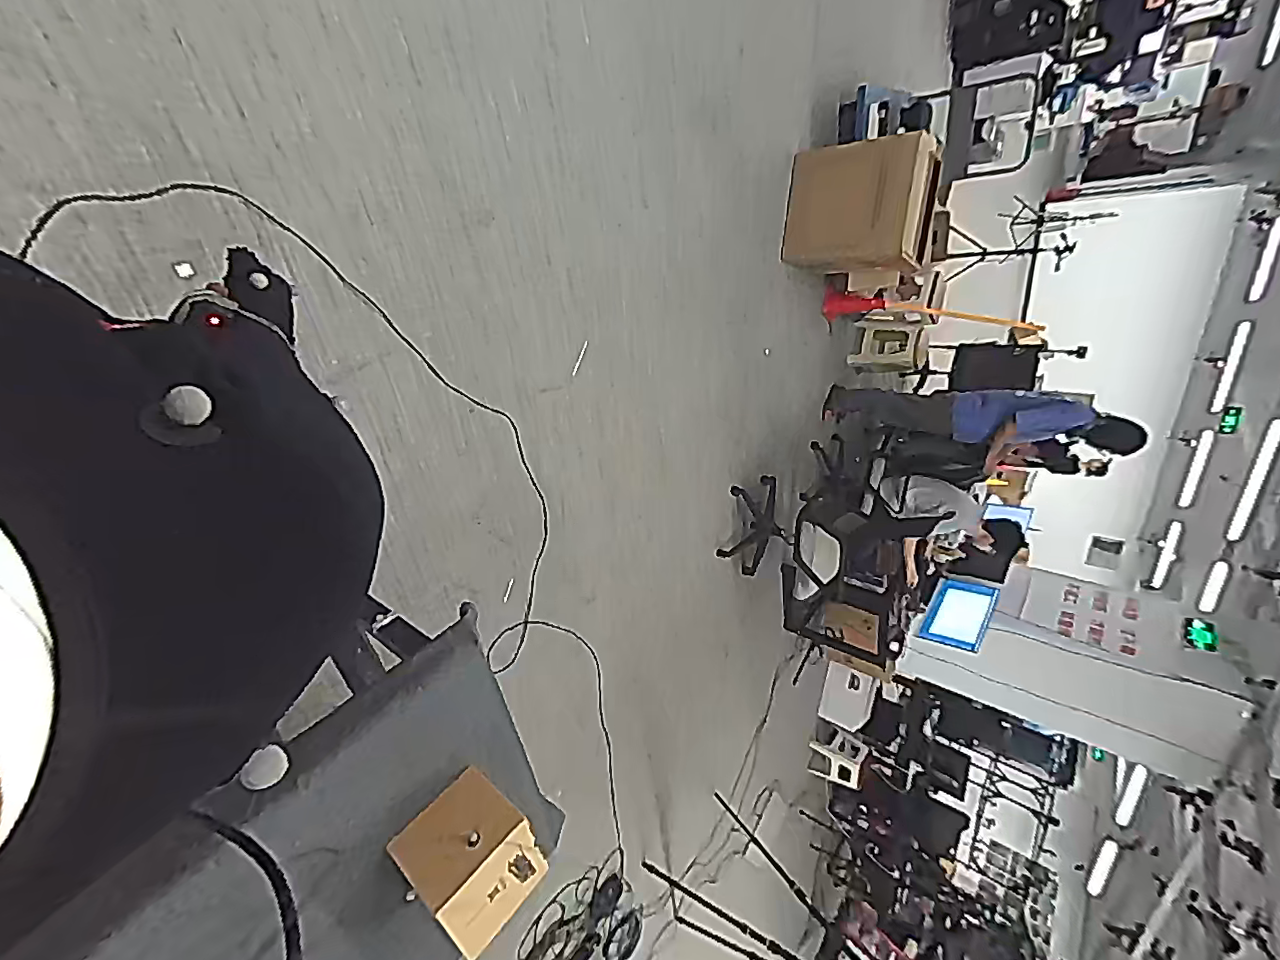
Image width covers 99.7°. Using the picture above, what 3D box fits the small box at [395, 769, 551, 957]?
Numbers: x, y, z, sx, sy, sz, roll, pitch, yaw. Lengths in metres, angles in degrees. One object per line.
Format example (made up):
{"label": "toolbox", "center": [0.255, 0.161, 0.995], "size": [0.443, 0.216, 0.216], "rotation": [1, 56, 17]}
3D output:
{"label": "small box", "center": [-0.289, 0.654, 0.946], "size": [0.179, 0.176, 0.168], "rotation": [-36, 127, -37]}
